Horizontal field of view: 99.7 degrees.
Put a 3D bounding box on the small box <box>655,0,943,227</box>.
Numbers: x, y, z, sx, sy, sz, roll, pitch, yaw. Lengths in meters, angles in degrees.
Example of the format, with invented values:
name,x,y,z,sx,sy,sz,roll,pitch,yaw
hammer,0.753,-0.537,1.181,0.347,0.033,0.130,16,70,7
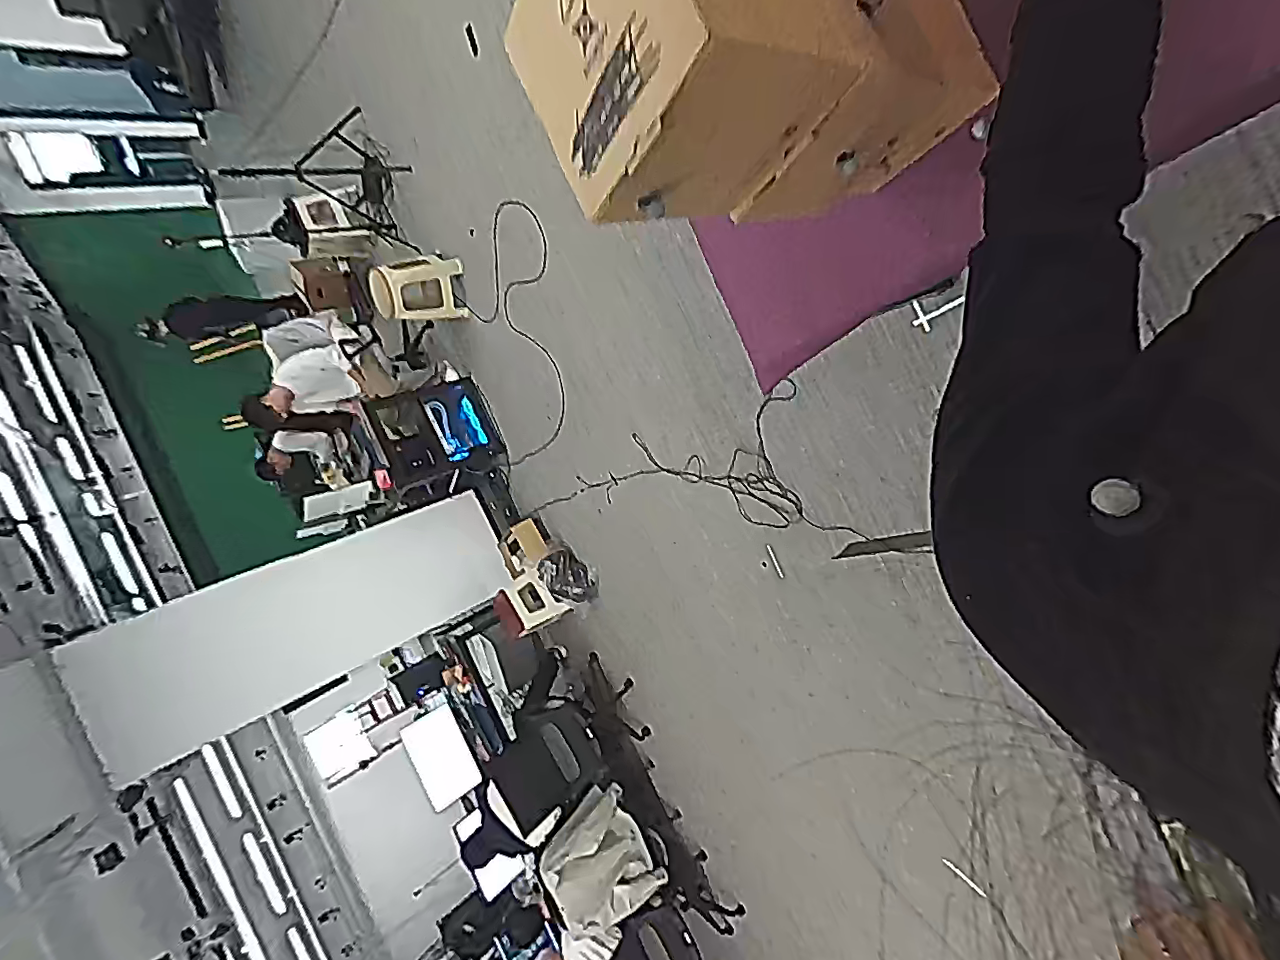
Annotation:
name,x,y,z,sx,sy,sz,roll,pitch,yaw
small box,0.153,-0.382,0.526,0.168,0.176,0.179,-33,83,55

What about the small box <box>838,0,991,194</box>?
name,x,y,z,sx,sy,sz,roll,pitch,yaw
small box,0.264,-0.457,0.624,0.168,0.176,0.179,-26,89,55
